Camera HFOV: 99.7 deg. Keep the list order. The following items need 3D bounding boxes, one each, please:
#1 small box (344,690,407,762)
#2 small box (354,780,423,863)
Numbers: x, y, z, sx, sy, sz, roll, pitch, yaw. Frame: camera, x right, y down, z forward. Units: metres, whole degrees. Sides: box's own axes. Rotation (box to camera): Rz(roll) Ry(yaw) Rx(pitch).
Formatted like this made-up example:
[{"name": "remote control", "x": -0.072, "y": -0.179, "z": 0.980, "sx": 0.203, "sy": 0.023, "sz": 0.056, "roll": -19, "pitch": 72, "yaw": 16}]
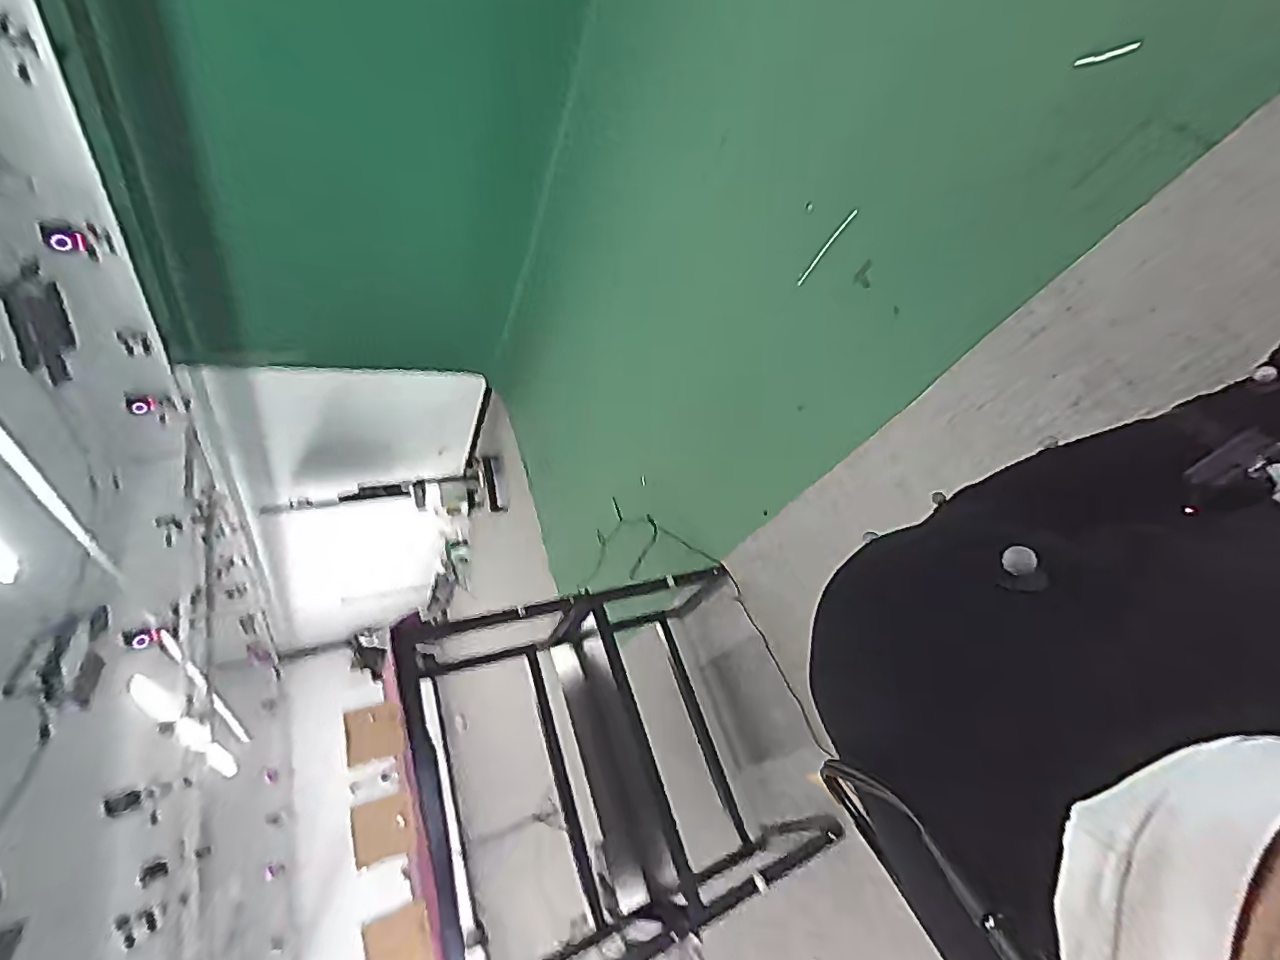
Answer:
[{"name": "small box", "x": -0.868, "y": 0.807, "z": 1.778, "sx": 0.179, "sy": 0.176, "sz": 0.168, "roll": -50, "pitch": 53, "yaw": 51}, {"name": "small box", "x": -0.774, "y": 1.041, "z": 1.658, "sx": 0.168, "sy": 0.176, "sz": 0.179, "roll": -56, "pitch": 48, "yaw": 50}]
